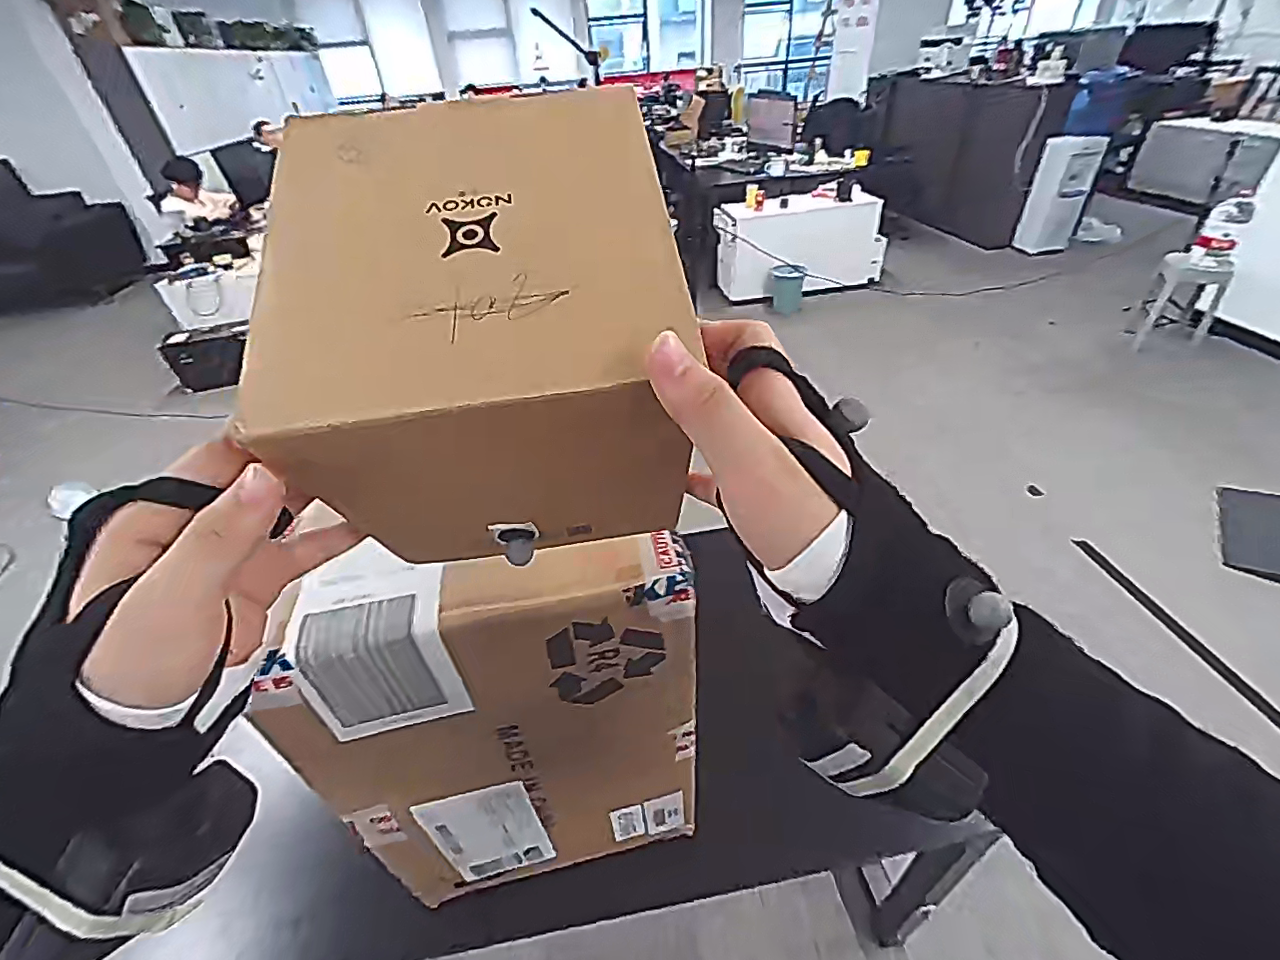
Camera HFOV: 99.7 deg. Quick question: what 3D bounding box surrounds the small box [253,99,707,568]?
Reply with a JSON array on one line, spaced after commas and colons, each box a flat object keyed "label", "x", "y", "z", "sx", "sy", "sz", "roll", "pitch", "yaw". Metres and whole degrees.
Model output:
[{"label": "small box", "x": -0.068, "y": -0.067, "z": 0.301, "sx": 0.168, "sy": 0.176, "sz": 0.179, "roll": -10, "pitch": 66, "yaw": -3}]
